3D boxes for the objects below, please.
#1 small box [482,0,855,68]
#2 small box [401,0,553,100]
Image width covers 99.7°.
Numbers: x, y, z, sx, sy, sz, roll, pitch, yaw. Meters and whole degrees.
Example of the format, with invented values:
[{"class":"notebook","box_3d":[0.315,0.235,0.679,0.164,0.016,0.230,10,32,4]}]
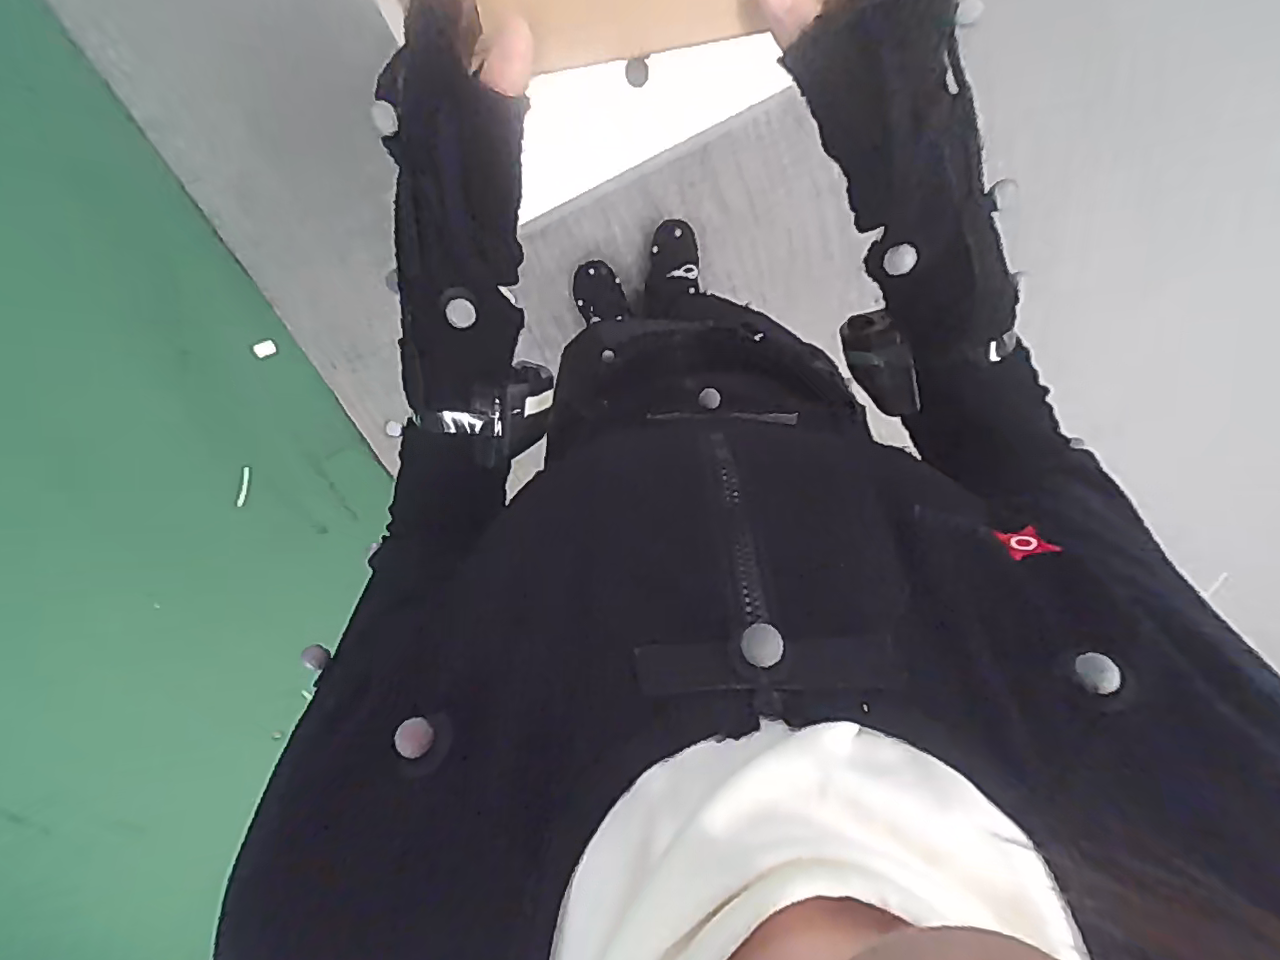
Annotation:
[{"class":"small box","box_3d":[0.001,-0.314,0.256,0.168,0.176,0.179,-7,128,3]},{"class":"small box","box_3d":[-0.151,-0.501,0.520,0.168,0.176,0.179,-25,114,4]}]
